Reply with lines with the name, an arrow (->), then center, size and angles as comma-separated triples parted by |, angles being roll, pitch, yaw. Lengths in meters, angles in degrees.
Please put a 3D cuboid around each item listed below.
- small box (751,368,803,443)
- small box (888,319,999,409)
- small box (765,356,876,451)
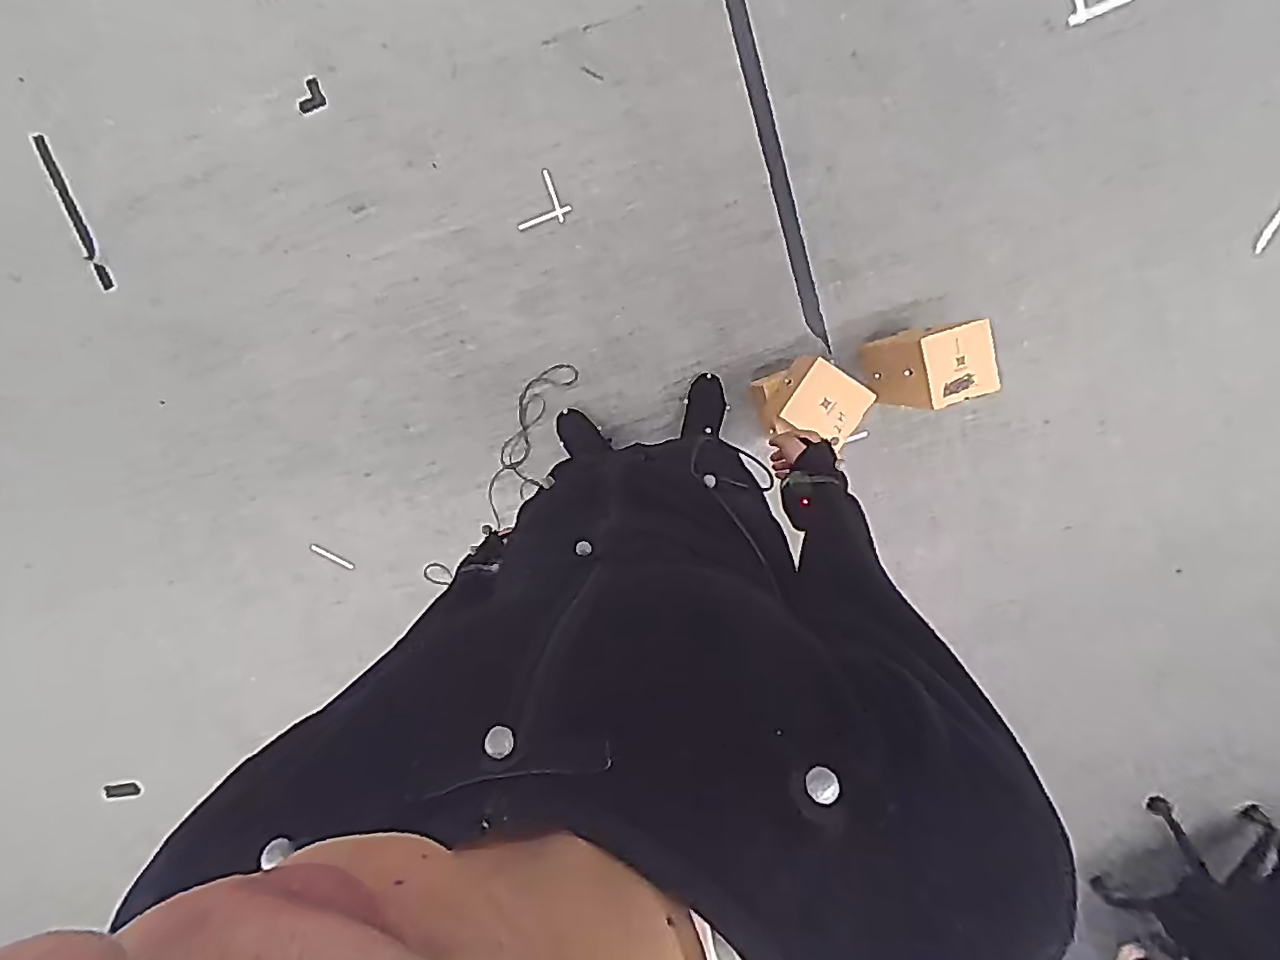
small box -> 0.427, -0.219, 1.520 | 0.168, 0.176, 0.179 | -21, 101, 3
small box -> 0.746, -0.287, 1.343 | 0.168, 0.176, 0.179 | -17, 101, 2
small box -> 0.442, -0.194, 1.358 | 0.179, 0.176, 0.168 | 32, 100, -8
